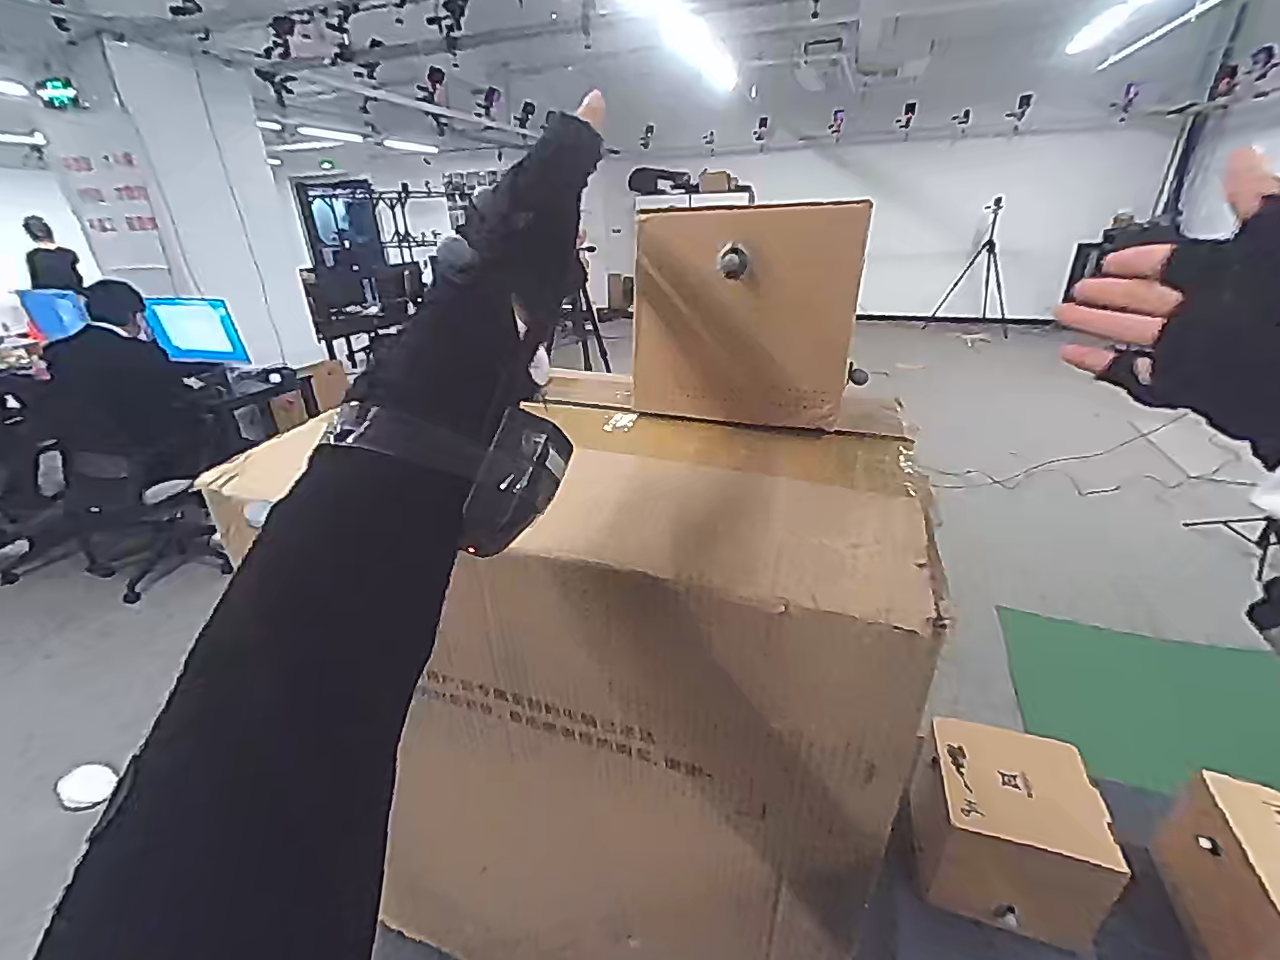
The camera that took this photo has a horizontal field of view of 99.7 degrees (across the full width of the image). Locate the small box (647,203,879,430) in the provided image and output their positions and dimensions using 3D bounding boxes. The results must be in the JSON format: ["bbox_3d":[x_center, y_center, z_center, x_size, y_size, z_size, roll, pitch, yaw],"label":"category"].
[{"bbox_3d":[0.112,-0.149,0.500,0.179,0.176,0.168,9,23,18],"label":"small box"}]

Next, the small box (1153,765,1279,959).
[{"bbox_3d":[0.755,0.483,0.627,0.168,0.176,0.179,8,28,20],"label":"small box"}]
